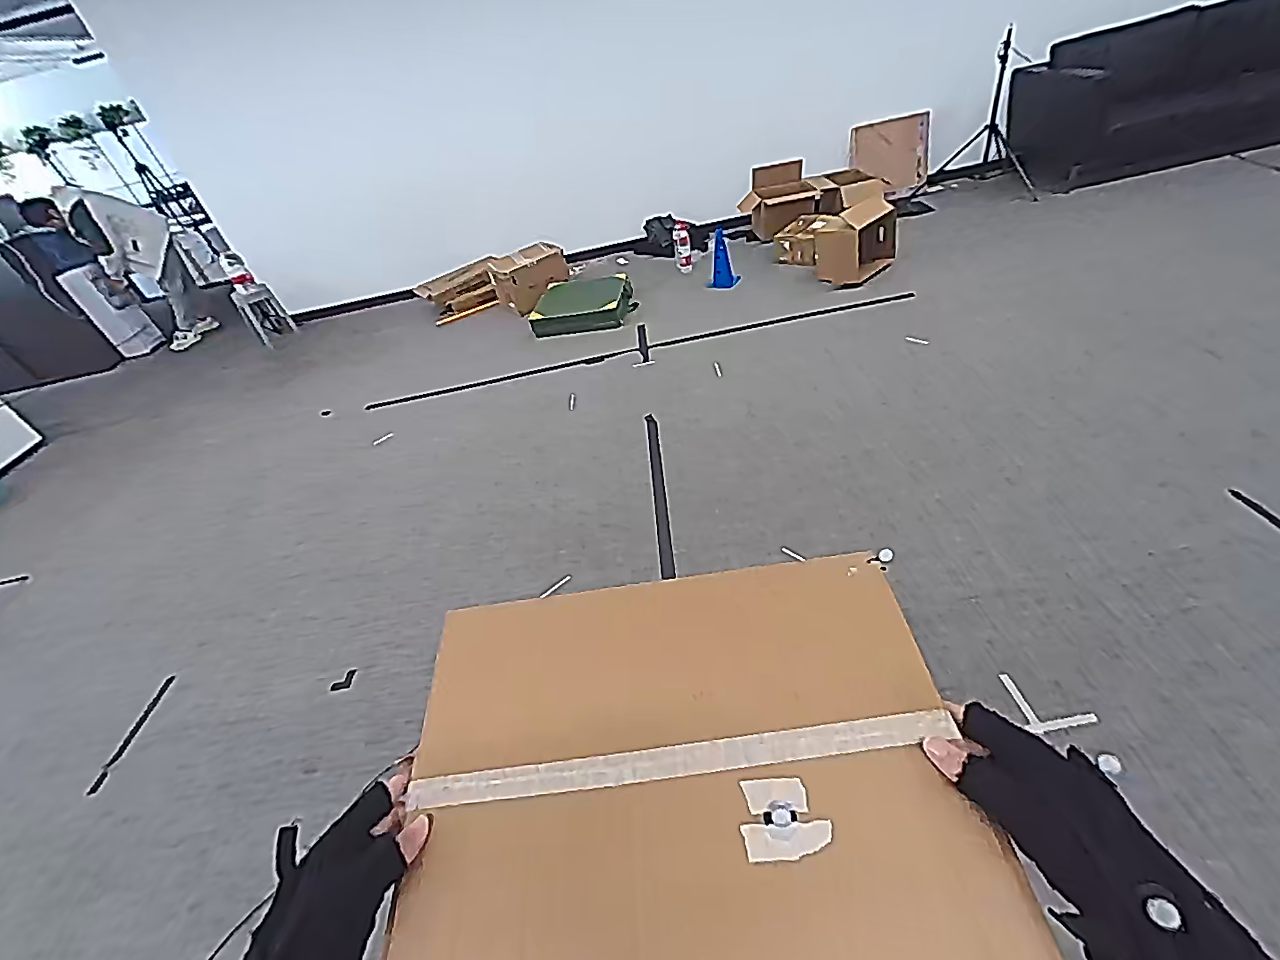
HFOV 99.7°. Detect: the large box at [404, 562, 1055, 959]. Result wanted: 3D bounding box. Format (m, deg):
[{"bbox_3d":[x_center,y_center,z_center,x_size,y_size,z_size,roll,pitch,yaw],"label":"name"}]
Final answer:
[{"bbox_3d":[0.051,0.319,0.517,0.408,0.320,0.320,-9,47,2],"label":"large box"}]
